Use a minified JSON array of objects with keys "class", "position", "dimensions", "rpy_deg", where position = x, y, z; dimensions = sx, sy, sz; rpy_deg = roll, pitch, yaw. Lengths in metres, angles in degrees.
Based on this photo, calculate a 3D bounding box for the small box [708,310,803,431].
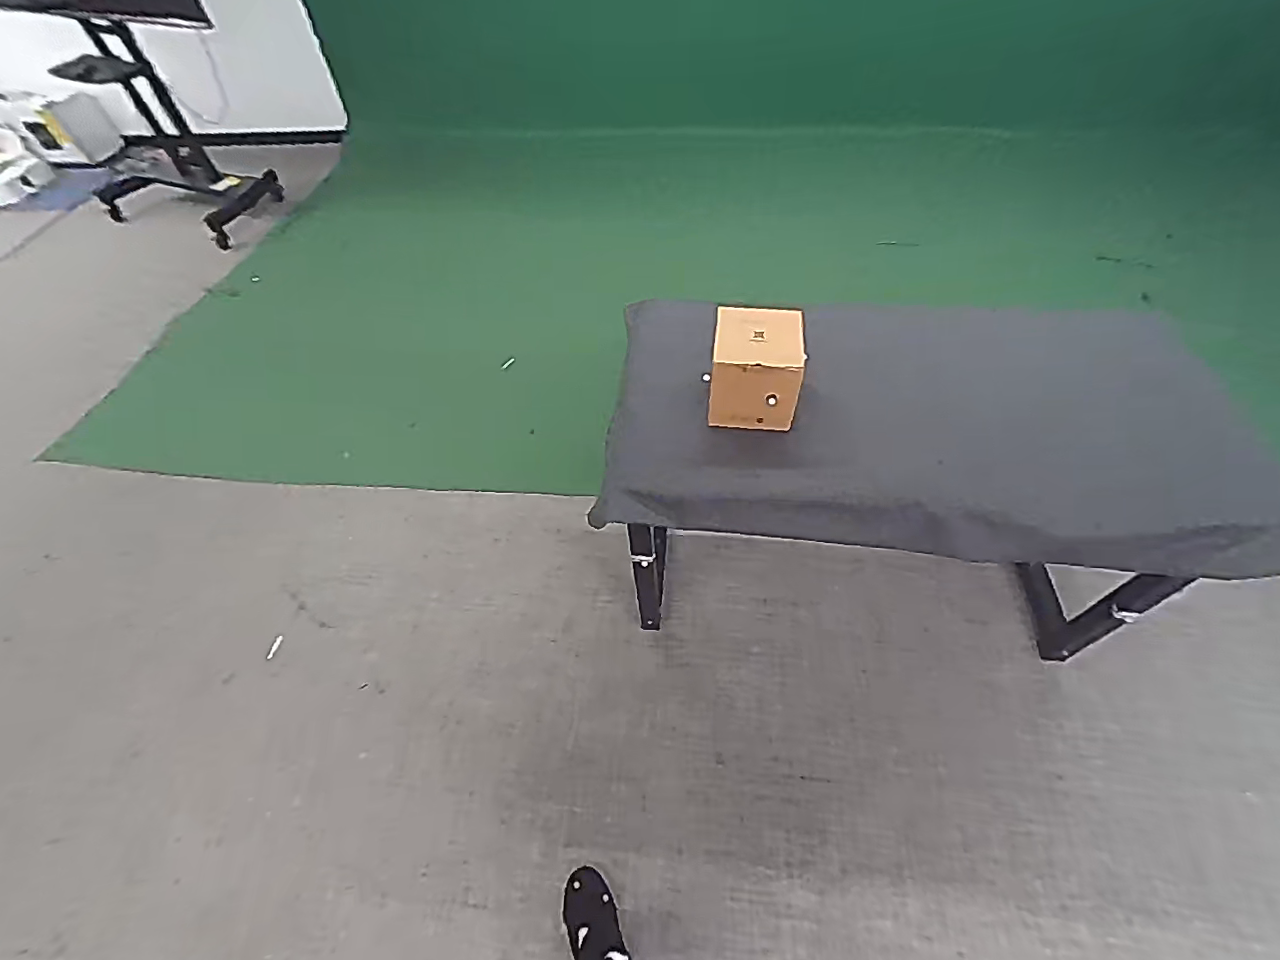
[{"class":"small box","position":[0.229,-0.219,1.095],"dimensions":[0.168,0.176,0.179],"rpy_deg":[6,52,5]}]
